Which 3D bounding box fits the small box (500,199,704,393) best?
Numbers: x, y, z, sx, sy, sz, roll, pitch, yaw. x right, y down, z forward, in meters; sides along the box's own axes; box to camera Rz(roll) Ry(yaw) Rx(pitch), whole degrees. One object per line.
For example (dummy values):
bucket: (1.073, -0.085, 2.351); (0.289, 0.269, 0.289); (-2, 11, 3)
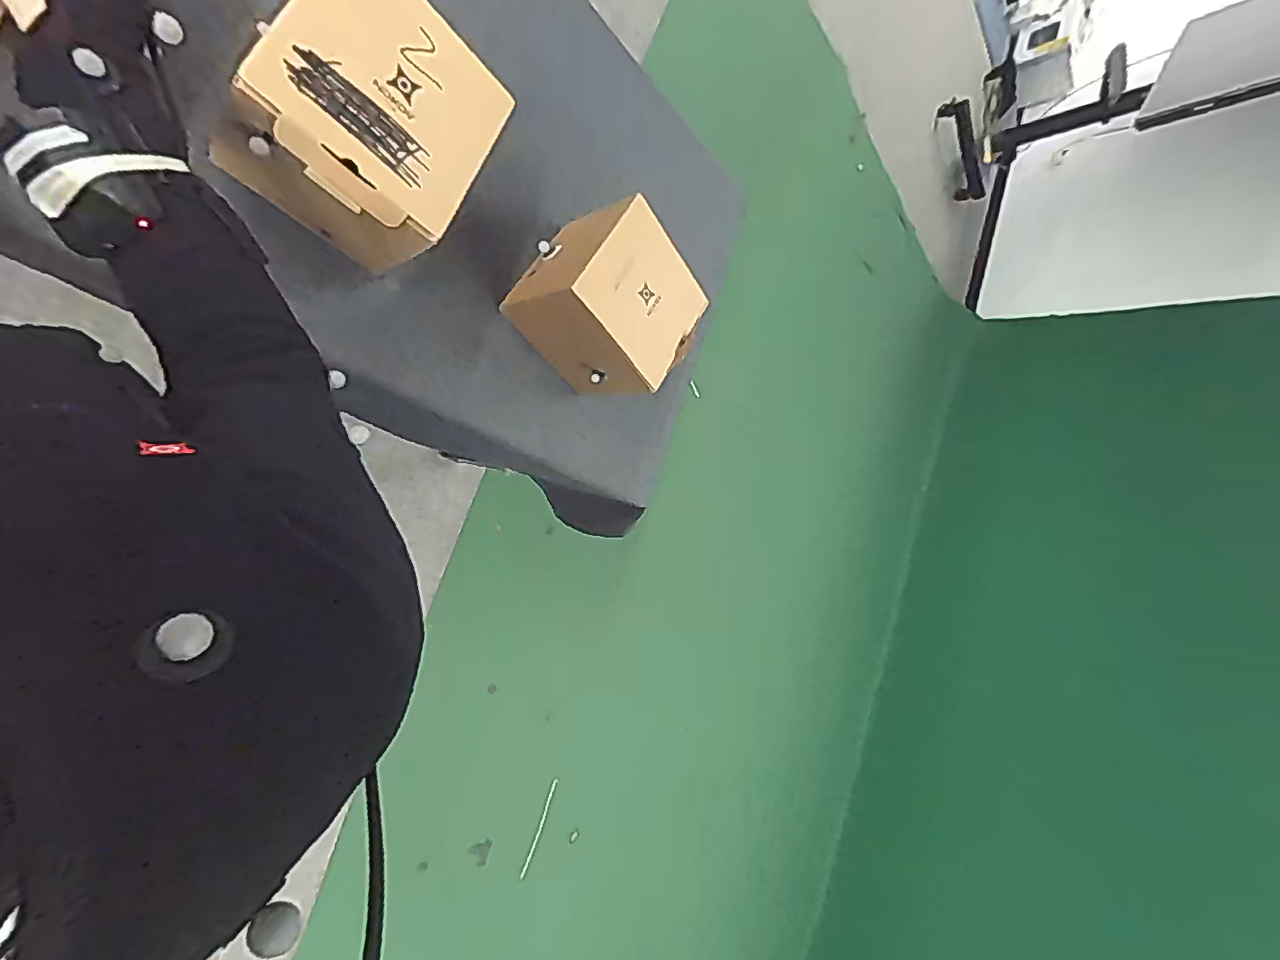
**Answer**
small box: (-0.050, -0.236, 0.733); (0.179, 0.176, 0.168); (46, 65, -37)
